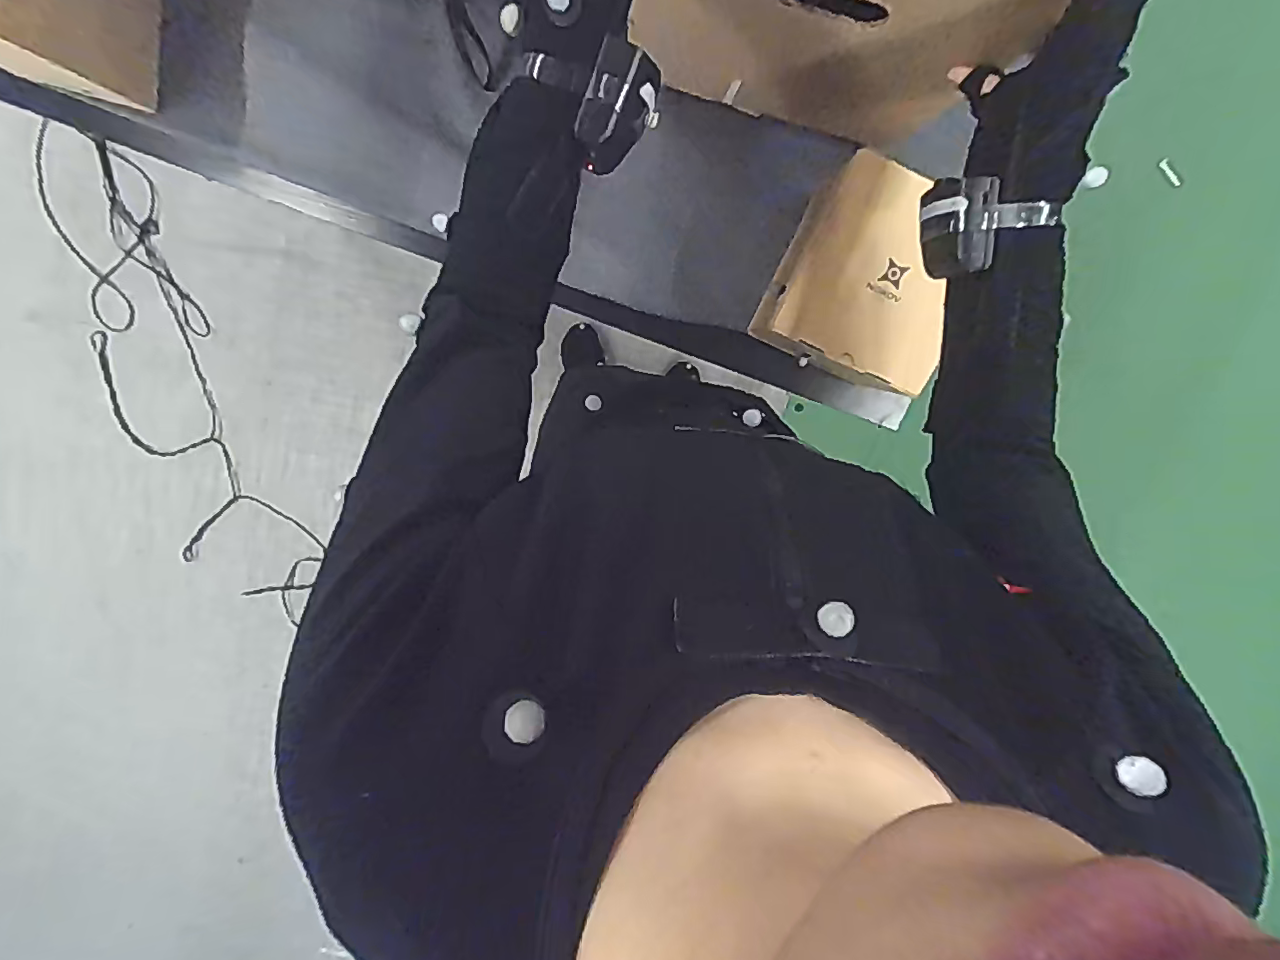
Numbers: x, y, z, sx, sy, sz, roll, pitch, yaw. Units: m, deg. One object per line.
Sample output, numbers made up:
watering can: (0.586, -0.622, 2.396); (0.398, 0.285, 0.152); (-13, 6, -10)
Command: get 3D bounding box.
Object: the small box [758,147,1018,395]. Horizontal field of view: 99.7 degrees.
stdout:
small box: (0.245, -0.214, 0.590); (0.168, 0.176, 0.179); (25, 106, -3)
